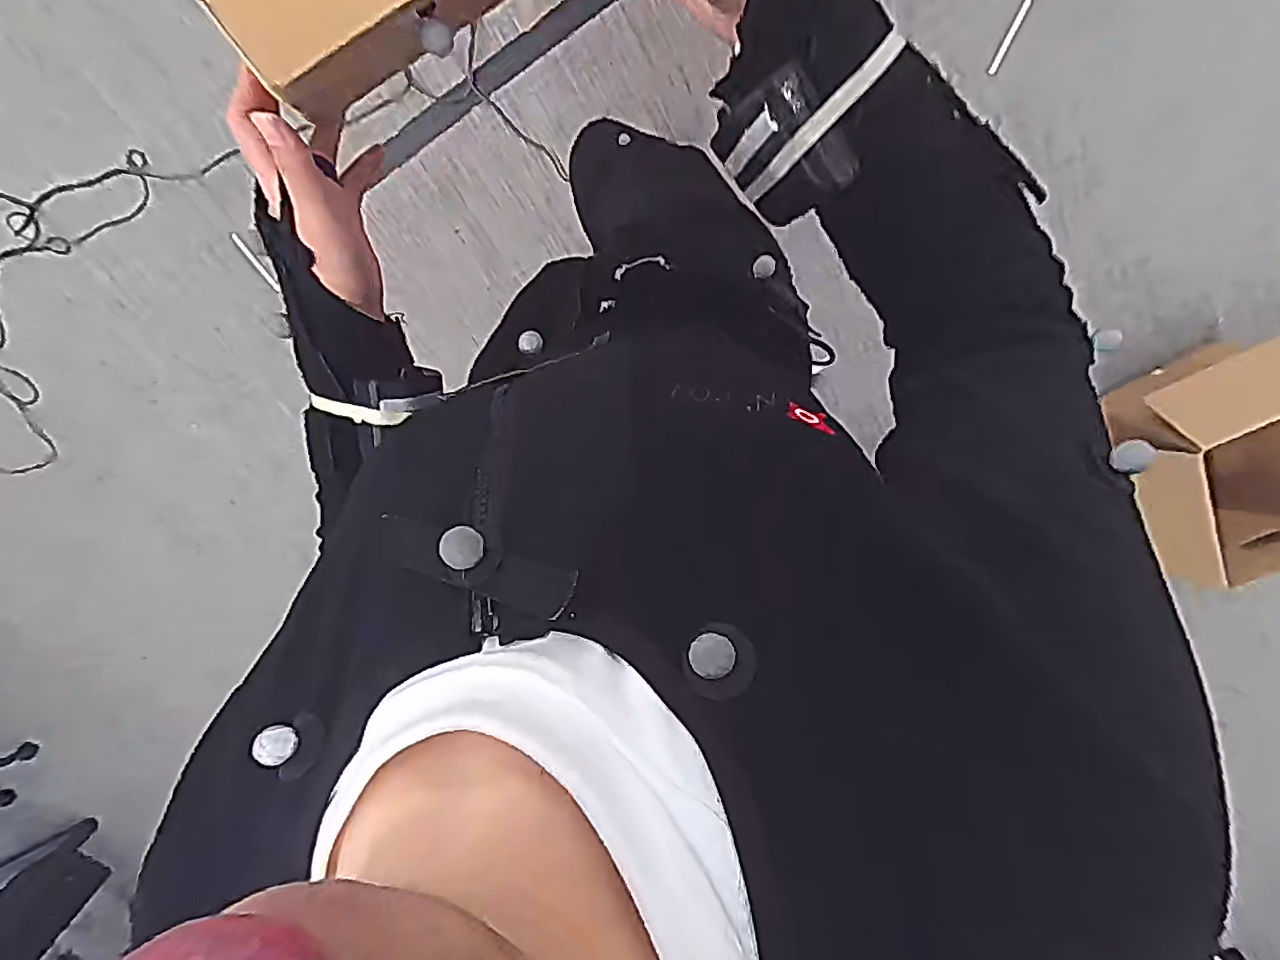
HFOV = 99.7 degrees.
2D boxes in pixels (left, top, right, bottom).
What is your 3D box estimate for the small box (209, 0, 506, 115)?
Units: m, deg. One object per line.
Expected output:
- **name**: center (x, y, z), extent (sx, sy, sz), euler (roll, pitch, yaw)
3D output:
- **small box**: center (-0.148, -0.303, 0.248), extent (0.179, 0.176, 0.168), euler (-36, 126, -2)
